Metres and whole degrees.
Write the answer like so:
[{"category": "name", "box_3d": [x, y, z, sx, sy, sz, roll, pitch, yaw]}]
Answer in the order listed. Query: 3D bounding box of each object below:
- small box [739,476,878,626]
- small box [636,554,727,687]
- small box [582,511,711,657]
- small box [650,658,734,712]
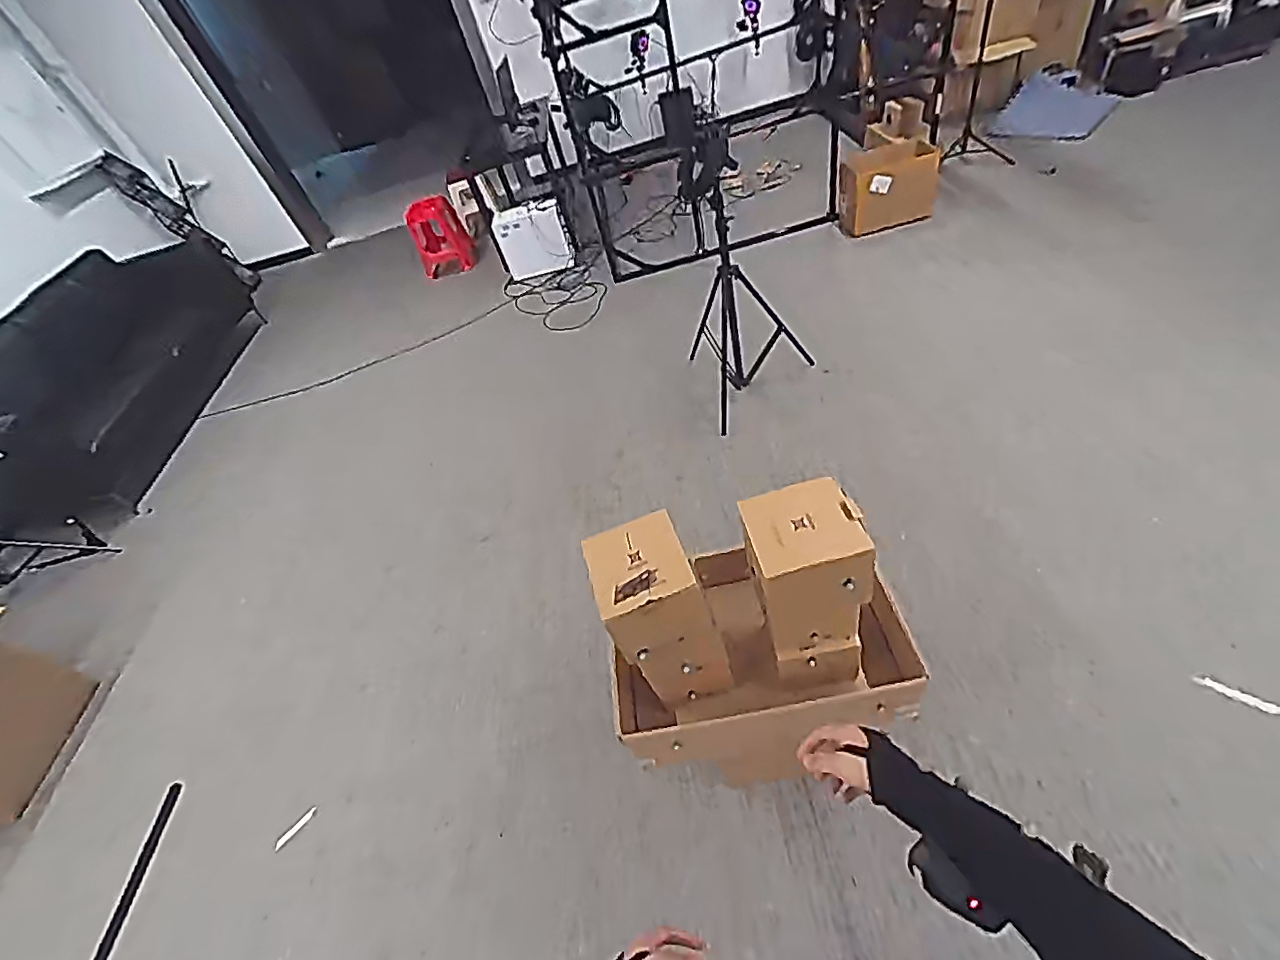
[{"category": "small box", "box_3d": [0.283, 0.126, 0.930, 0.179, 0.176, 0.168, -16, 45, 4]}, {"category": "small box", "box_3d": [0.064, 0.285, 1.090, 0.168, 0.176, 0.179, -20, 46, 1]}, {"category": "small box", "box_3d": [0.014, 0.192, 0.963, 0.168, 0.176, 0.179, -21, 45, -1]}, {"category": "small box", "box_3d": [0.100, 0.387, 1.214, 0.168, 0.176, 0.179, -20, 46, 1]}]
